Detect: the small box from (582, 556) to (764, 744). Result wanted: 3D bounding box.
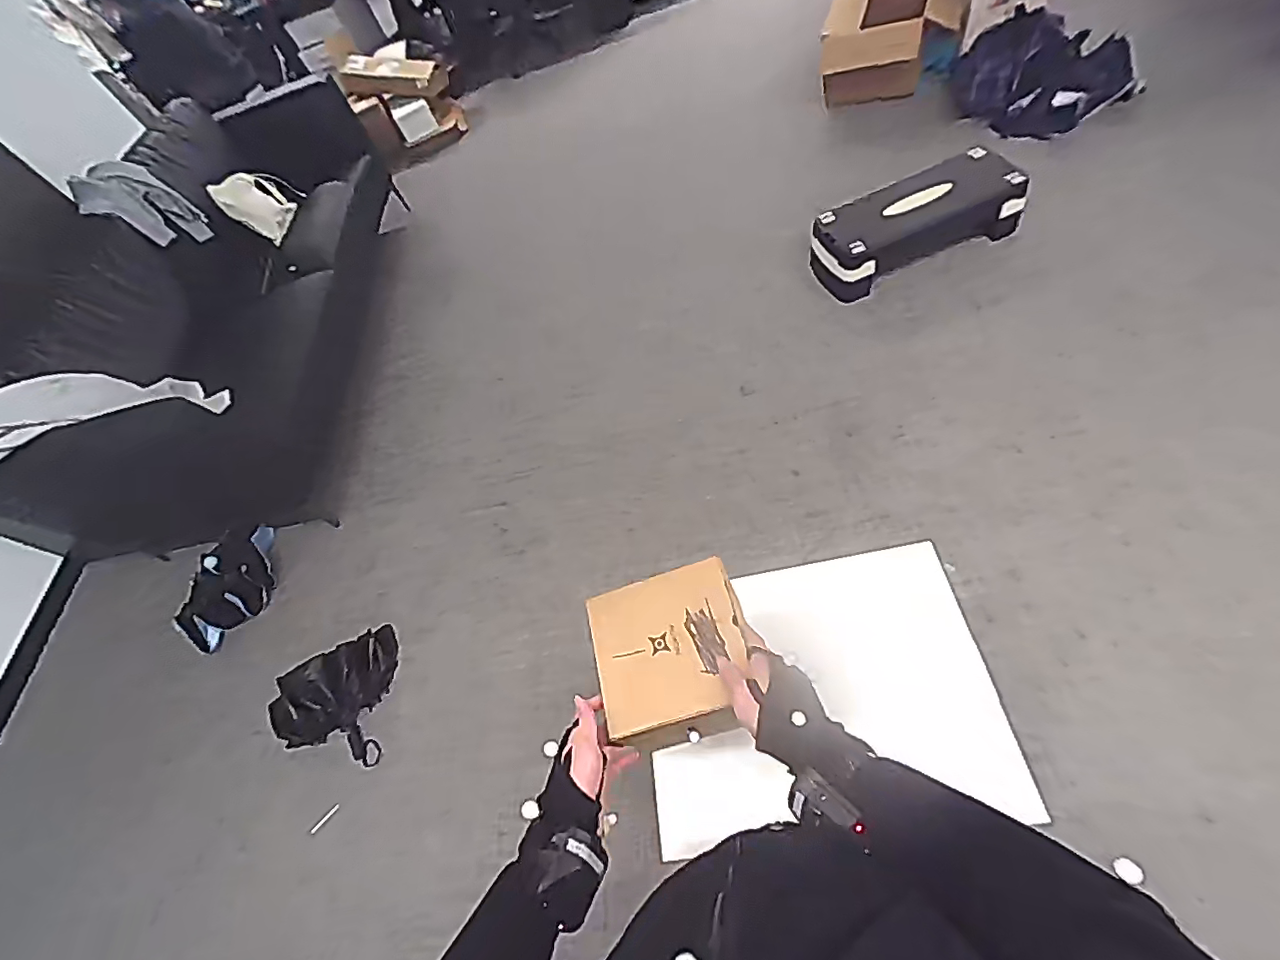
[{"bbox_3d":[0.048,0.221,0.680,0.179,0.176,0.168,-21,57,8],"label":"small box"}]
